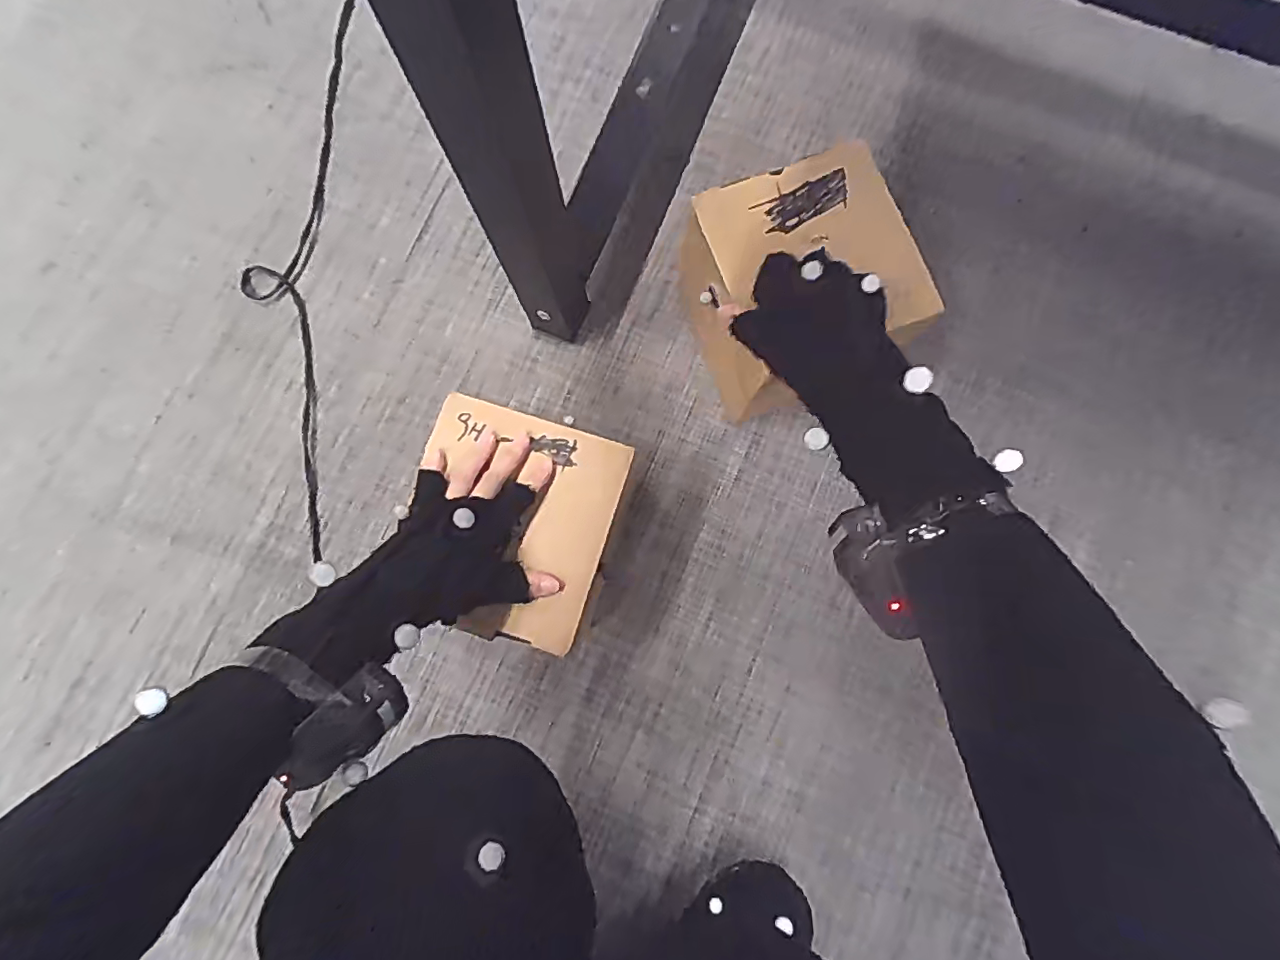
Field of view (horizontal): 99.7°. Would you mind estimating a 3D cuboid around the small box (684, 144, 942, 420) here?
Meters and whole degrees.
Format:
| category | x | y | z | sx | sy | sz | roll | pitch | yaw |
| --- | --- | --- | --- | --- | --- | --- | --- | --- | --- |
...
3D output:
| category | x | y | z | sx | sy | sz | roll | pitch | yaw |
| --- | --- | --- | --- | --- | --- | --- | --- | --- | --- |
| small box | 0.151 | -0.182 | 0.546 | 0.168 | 0.176 | 0.179 | -21 | 83 | -3 |
